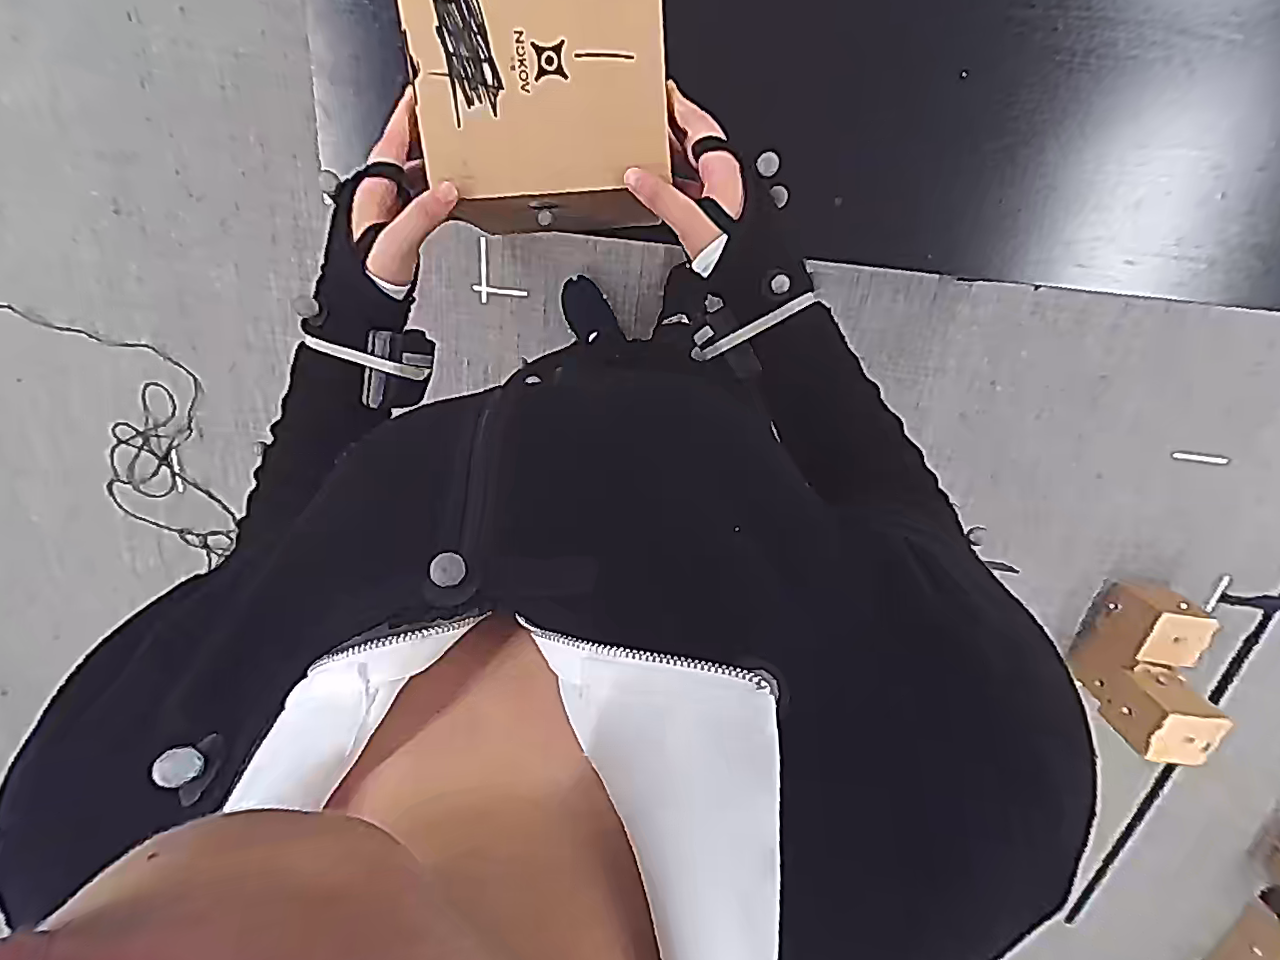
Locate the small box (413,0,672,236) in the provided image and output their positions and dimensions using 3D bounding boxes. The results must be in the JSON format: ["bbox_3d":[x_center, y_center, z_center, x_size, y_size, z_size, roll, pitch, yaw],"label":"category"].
[{"bbox_3d":[-0.066,-0.310,0.455,0.179,0.176,0.168,-4,106,0],"label":"small box"}]

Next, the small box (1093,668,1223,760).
[{"bbox_3d":[1.456,0.659,1.537,0.179,0.176,0.168,7,112,-1],"label":"small box"}]
